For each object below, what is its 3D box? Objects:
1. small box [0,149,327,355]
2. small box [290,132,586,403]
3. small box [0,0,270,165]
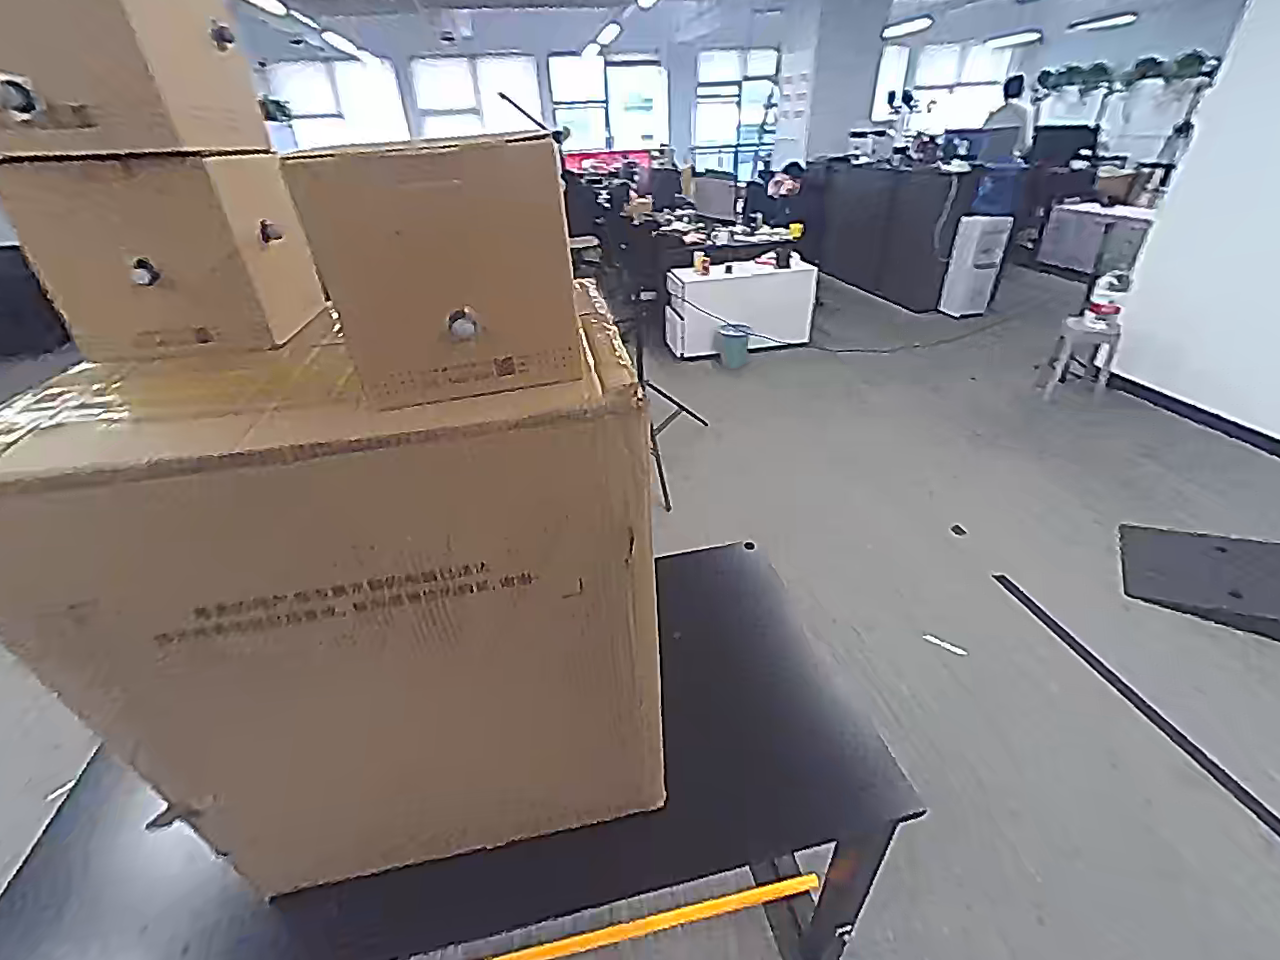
[{"bbox_3d":[-0.447,-0.230,0.547,0.168,0.176,0.179,-7,33,-9],"label":"small box"},{"bbox_3d":[-0.144,-0.180,0.445,0.168,0.176,0.179,-11,35,-9],"label":"small box"},{"bbox_3d":[-0.446,-0.360,0.446,0.168,0.176,0.179,-7,33,-7],"label":"small box"}]
